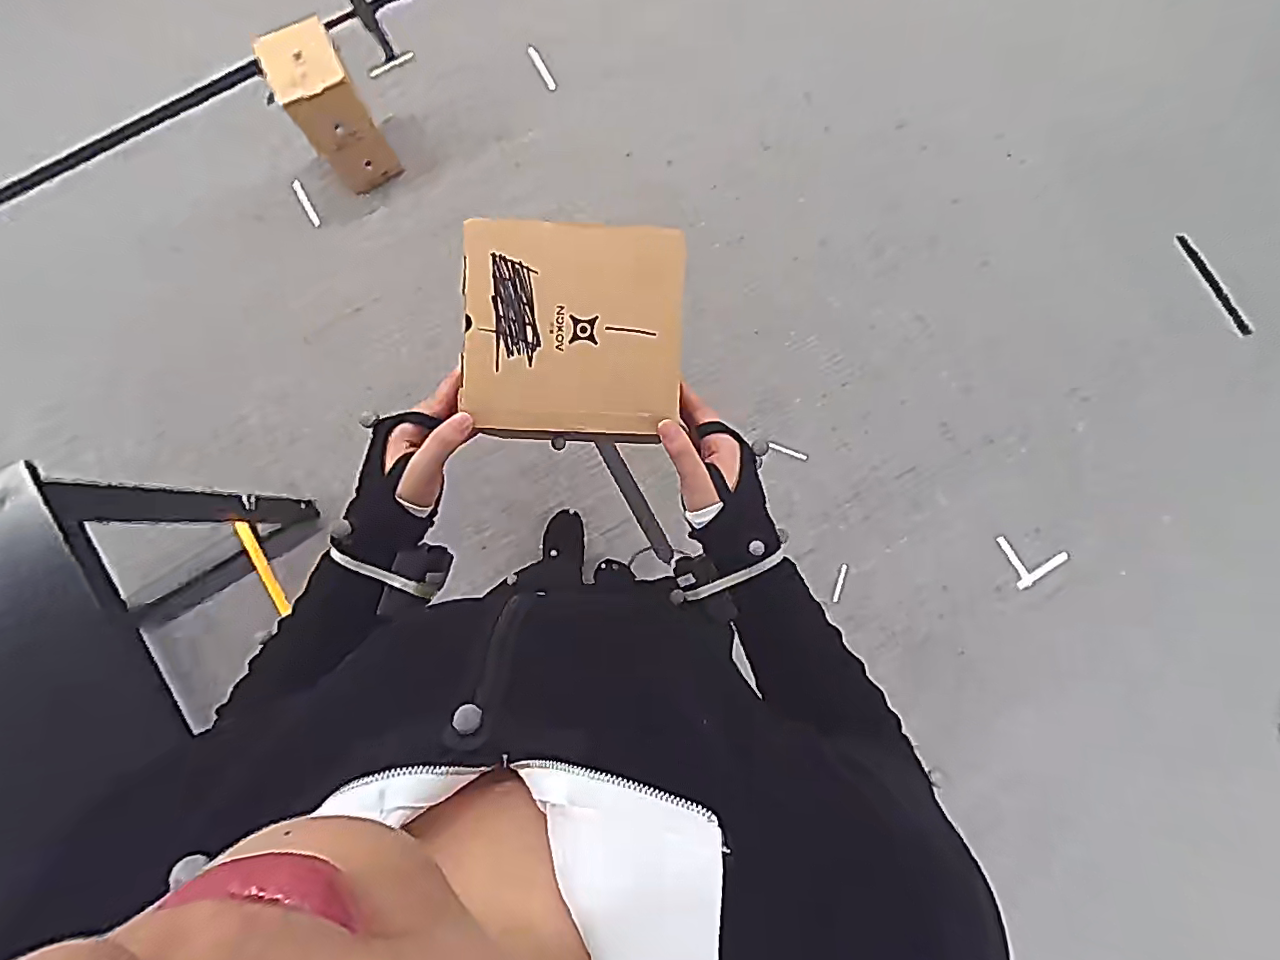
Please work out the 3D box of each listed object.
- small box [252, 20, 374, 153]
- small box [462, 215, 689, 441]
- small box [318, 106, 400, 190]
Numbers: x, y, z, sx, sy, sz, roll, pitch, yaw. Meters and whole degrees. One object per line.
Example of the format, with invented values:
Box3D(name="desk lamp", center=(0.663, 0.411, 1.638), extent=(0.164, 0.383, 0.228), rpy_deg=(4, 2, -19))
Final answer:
Box3D(name="small box", center=(-0.794, -0.958, 1.329), extent=(0.168, 0.176, 0.179), rpy_deg=(-25, 87, -3))
Box3D(name="small box", center=(-0.055, -0.125, 0.508), extent=(0.179, 0.176, 0.168), rpy_deg=(2, 92, -4))
Box3D(name="small box", center=(-0.799, -0.940, 1.494), extent=(0.168, 0.176, 0.179), rpy_deg=(-31, 88, -4))
